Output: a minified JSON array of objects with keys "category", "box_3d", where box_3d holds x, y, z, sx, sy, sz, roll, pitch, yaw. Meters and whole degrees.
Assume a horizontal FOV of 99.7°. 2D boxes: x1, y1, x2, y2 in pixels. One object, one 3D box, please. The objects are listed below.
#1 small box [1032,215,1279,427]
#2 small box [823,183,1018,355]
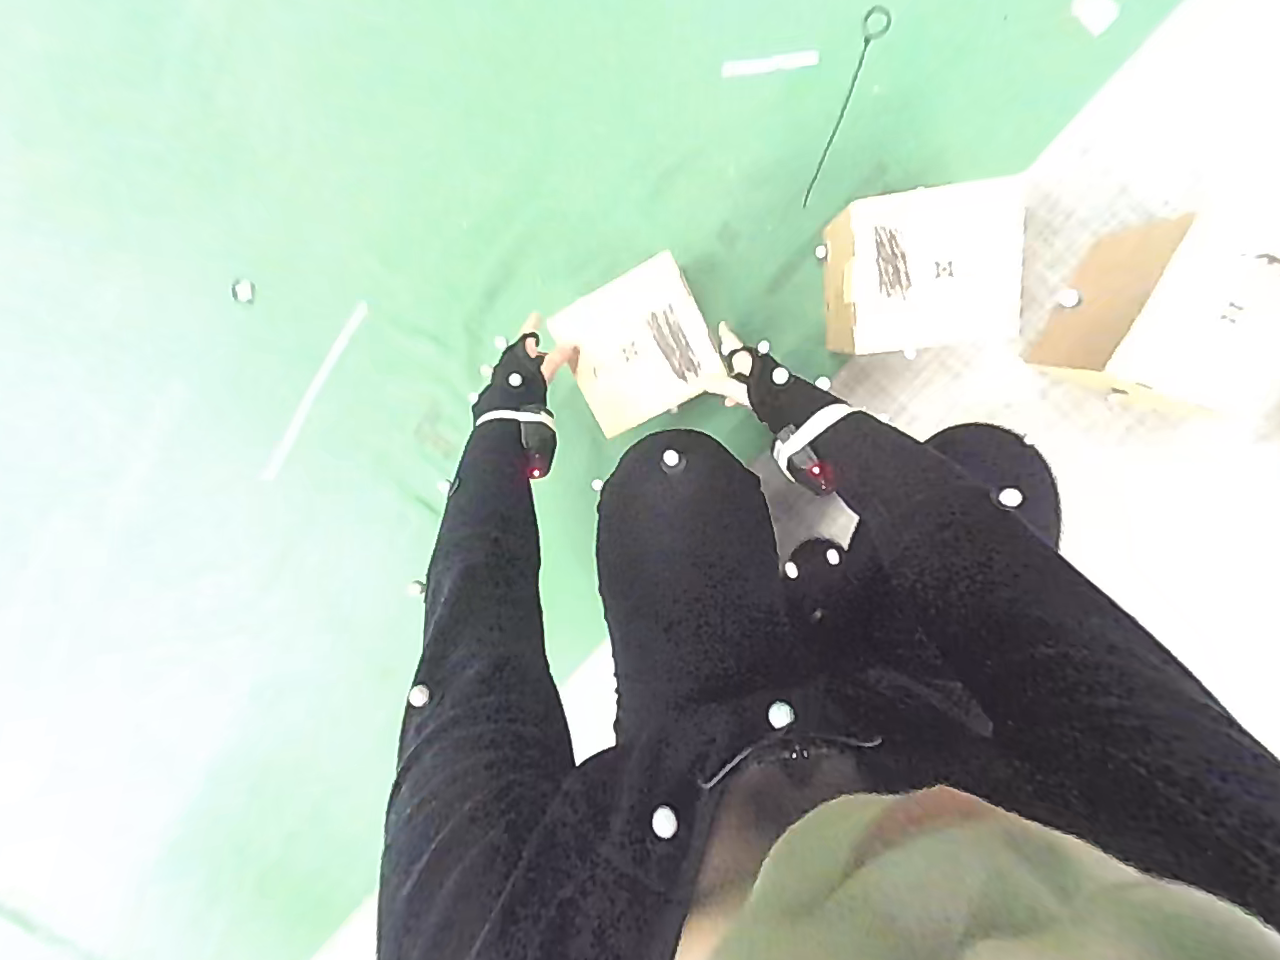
[{"category":"small box","box_3d":[0.622,-0.186,0.649,0.168,0.176,0.179,22,108,2]},{"category":"small box","box_3d":[0.329,-0.248,0.674,0.179,0.176,0.168,-5,104,8]}]
